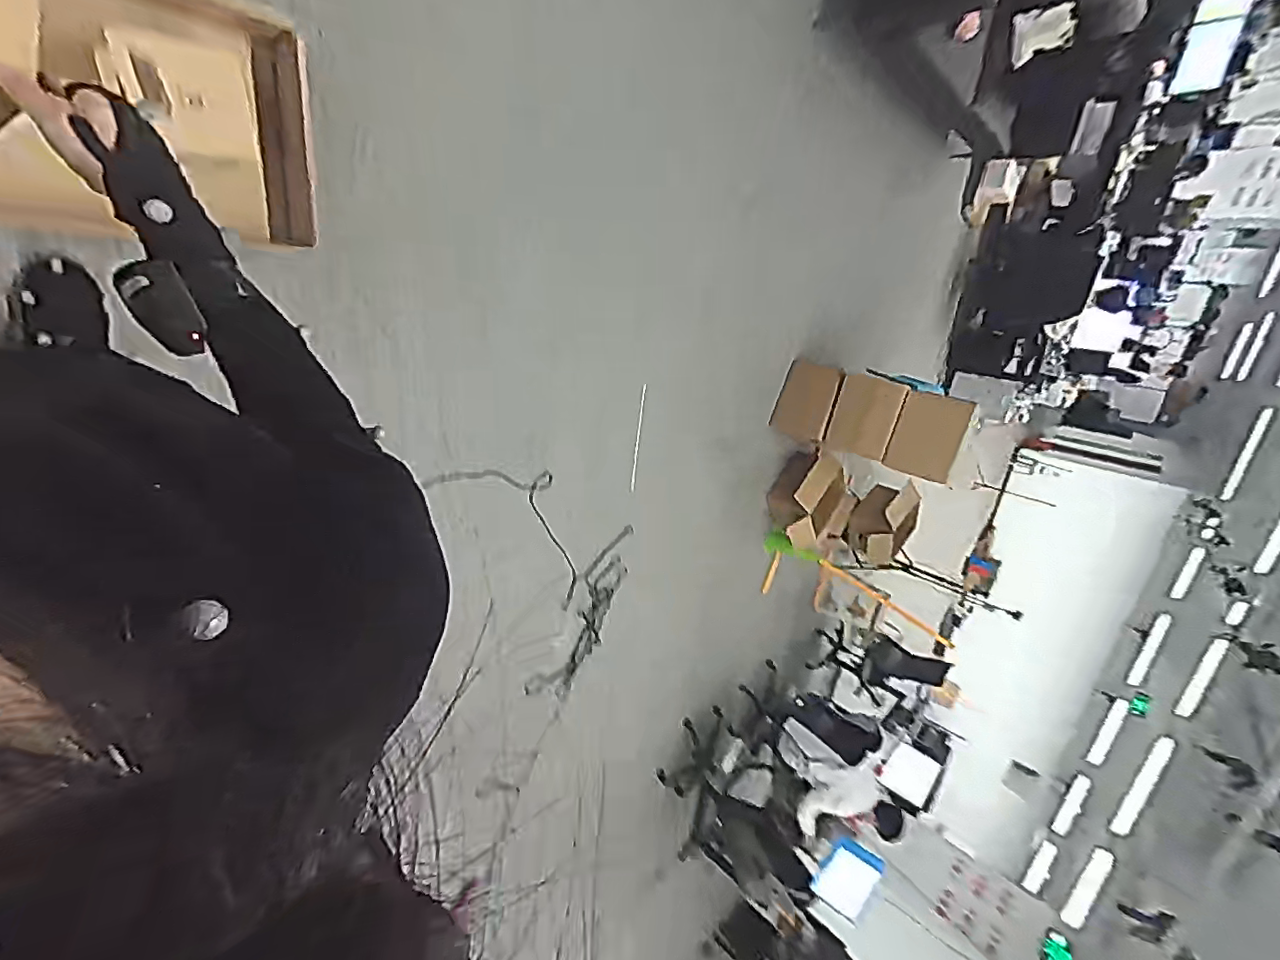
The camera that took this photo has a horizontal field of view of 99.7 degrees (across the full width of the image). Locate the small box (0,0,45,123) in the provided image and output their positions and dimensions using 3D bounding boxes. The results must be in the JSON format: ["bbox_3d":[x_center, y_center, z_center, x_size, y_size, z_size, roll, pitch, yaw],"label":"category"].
[{"bbox_3d":[-0.535,-0.356,0.349,0.179,0.176,0.168,1,94,-61],"label":"small box"}]

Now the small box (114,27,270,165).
[{"bbox_3d":[-0.798,-0.667,0.964,0.179,0.176,0.168,-21,124,-41],"label":"small box"}]
